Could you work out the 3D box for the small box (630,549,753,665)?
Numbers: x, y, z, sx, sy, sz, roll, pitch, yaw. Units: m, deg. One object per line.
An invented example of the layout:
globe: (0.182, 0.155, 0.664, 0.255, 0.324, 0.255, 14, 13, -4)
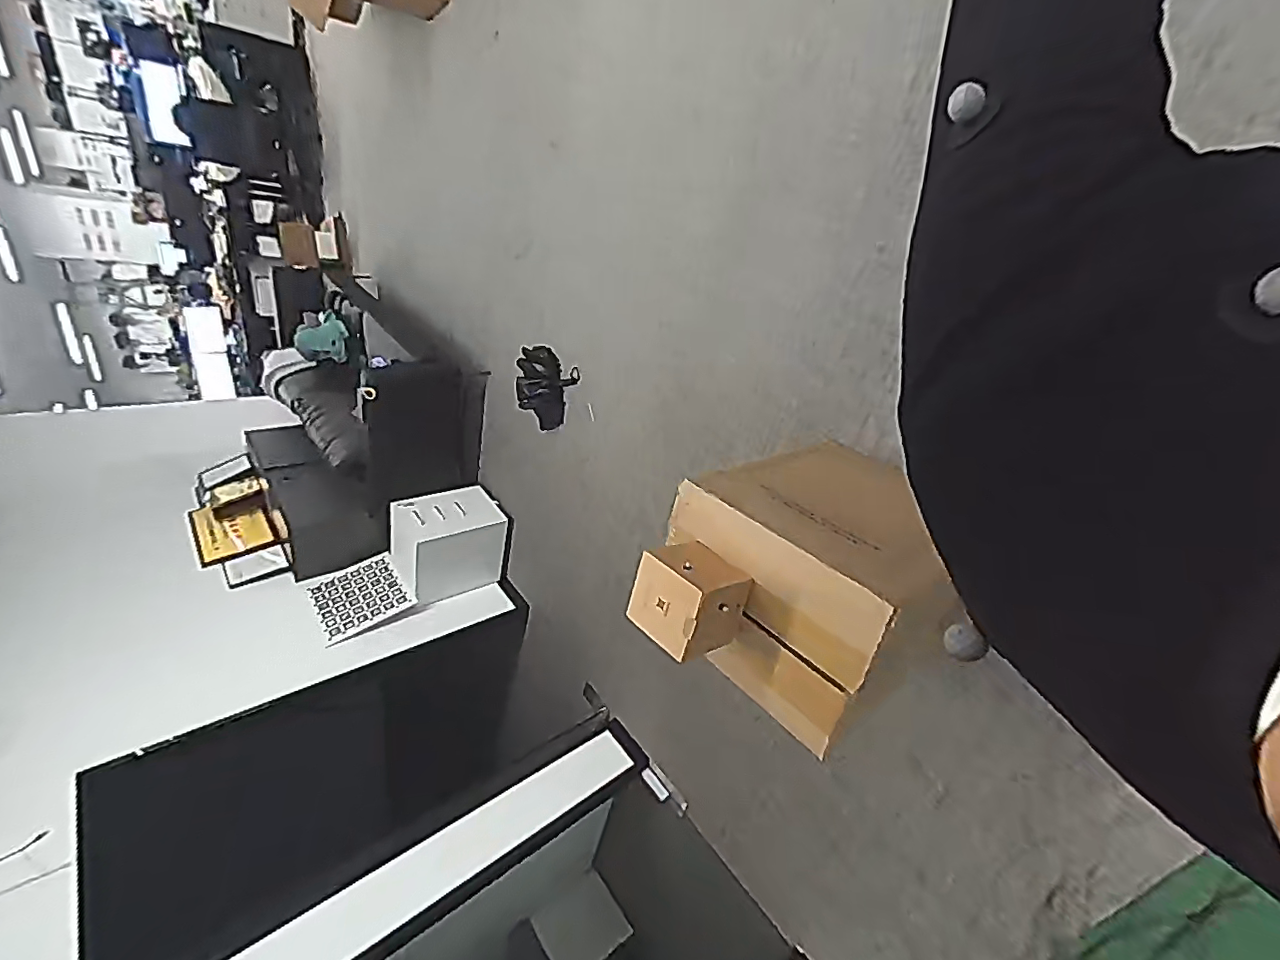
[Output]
small box: (0.111, 0.258, 1.153, 0.179, 0.176, 0.168, 31, 113, 43)
